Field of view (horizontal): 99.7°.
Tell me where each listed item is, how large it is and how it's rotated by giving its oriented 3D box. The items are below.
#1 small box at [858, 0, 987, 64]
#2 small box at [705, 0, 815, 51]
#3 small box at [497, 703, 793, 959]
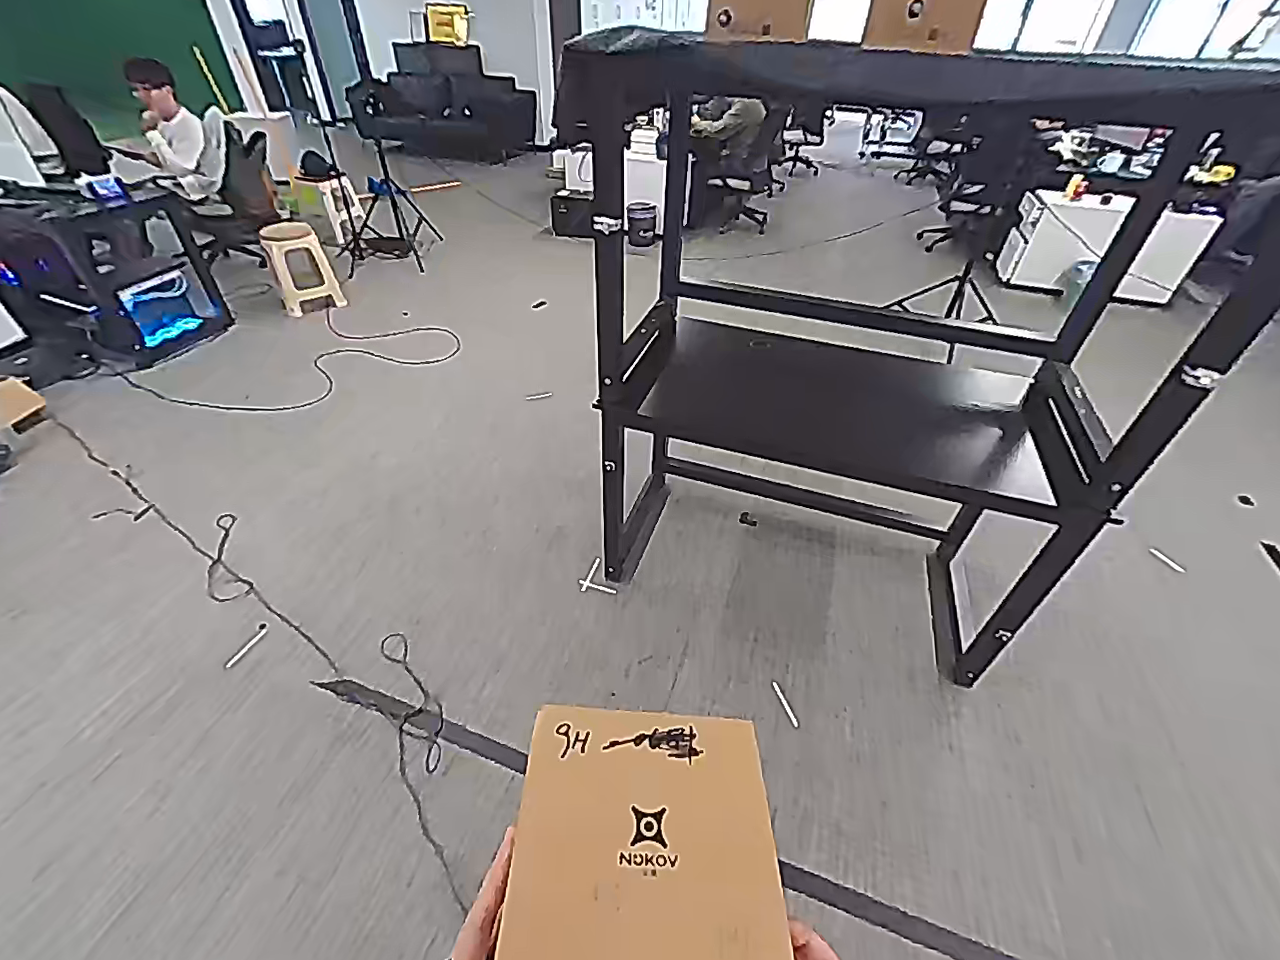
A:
[{"bbox_3d":[0.454,-0.774,0.856,0.168,0.176,0.179,13,40,13],"label":"small box"},{"bbox_3d":[0.209,-0.830,0.906,0.168,0.176,0.179,13,39,10],"label":"small box"},{"bbox_3d":[-0.003,0.289,0.389,0.168,0.176,0.179,6,37,-4],"label":"small box"}]
